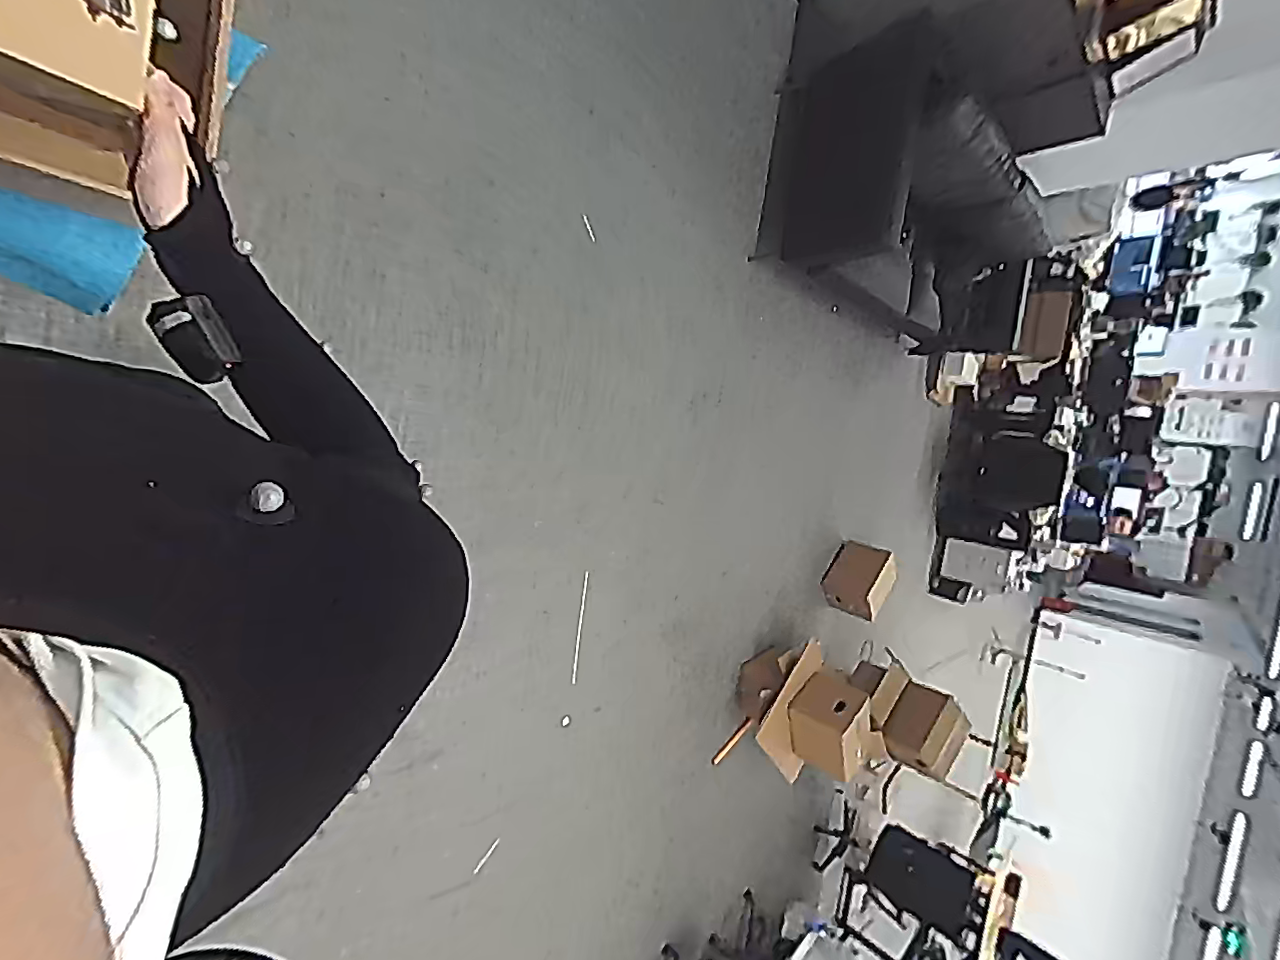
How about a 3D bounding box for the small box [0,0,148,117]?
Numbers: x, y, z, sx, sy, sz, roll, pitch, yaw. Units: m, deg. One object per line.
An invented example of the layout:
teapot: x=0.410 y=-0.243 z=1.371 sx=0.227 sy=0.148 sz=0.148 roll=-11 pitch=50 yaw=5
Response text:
small box: x=-0.442 y=-0.367 z=0.350 sx=0.179 sy=0.176 sz=0.168 roll=5 pitch=105 yaw=-49
